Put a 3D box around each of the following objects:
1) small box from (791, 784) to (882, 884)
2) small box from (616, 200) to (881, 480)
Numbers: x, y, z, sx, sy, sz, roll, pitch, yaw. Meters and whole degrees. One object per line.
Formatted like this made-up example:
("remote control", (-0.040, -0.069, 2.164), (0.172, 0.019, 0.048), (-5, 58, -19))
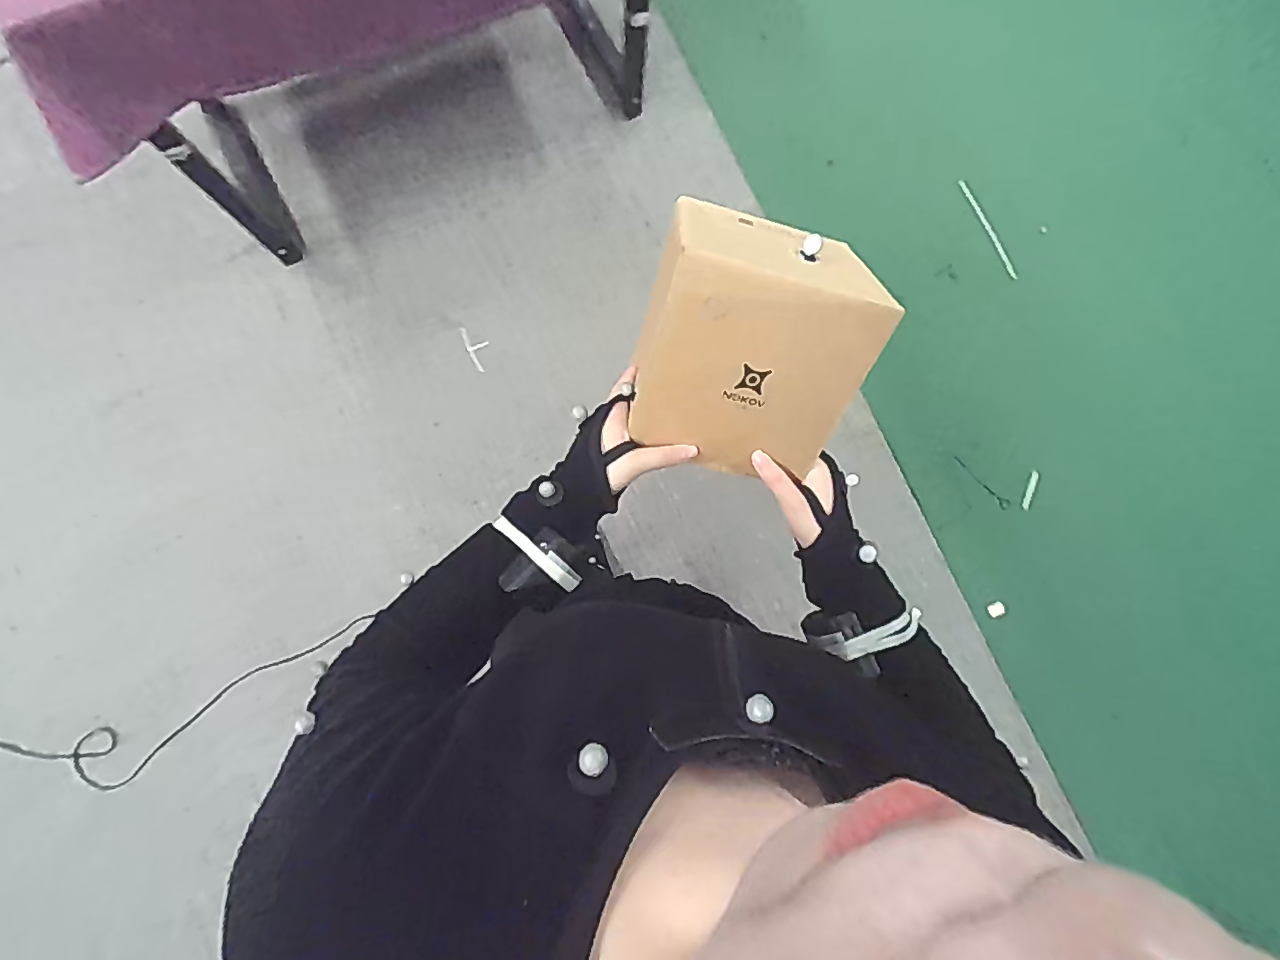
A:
("small box", (0.466, 0.822, 1.200), (0.168, 0.176, 0.179), (-28, 83, -7))
("small box", (0.080, -0.131, 0.493), (0.168, 0.179, 0.176), (12, 40, -7))
